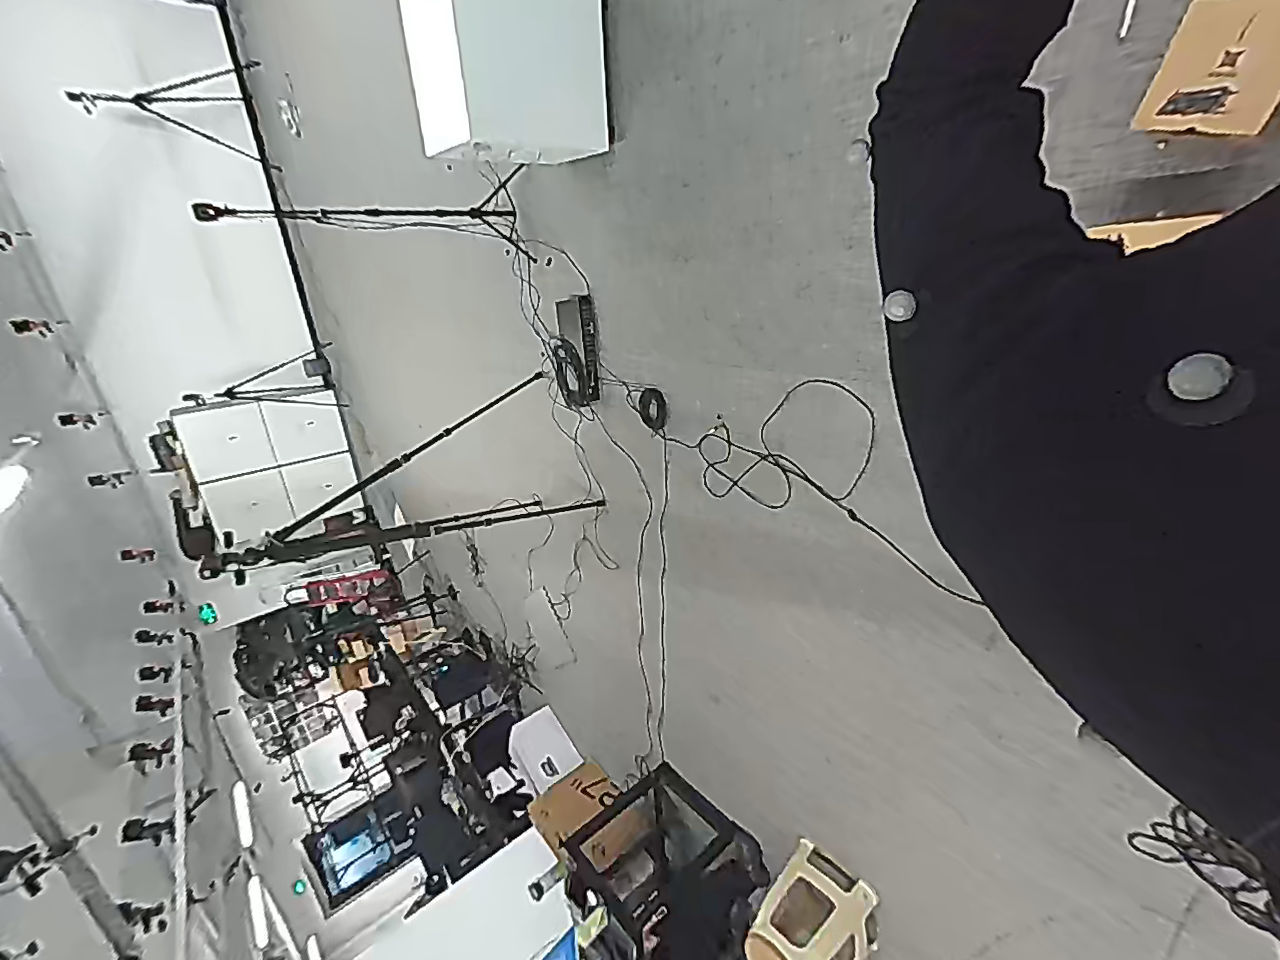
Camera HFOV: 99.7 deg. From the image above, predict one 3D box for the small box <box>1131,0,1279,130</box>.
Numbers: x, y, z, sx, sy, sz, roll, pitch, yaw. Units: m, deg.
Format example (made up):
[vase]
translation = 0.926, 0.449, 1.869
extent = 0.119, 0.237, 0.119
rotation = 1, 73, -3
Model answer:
[small box]
translation = 0.947, -0.672, 0.862
extent = 0.168, 0.176, 0.179
rotation = 36, 132, 37
